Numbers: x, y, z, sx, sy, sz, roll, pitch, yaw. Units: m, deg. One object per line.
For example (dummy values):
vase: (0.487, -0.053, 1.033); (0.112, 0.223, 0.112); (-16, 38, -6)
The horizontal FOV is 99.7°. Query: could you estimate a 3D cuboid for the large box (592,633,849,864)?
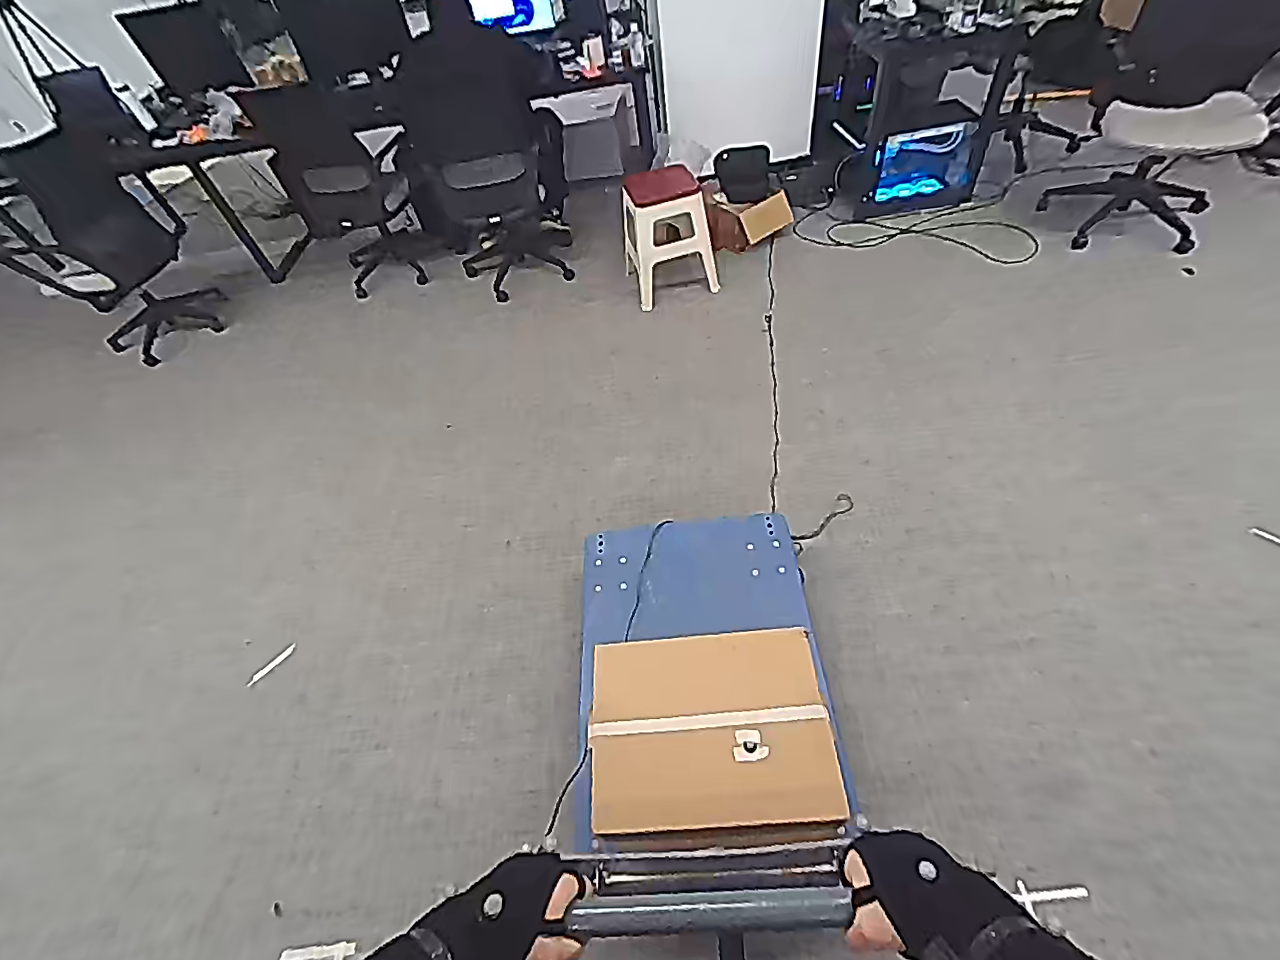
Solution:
large box: (0.131, 0.520, 1.034); (0.408, 0.320, 0.320); (-7, 51, 4)
